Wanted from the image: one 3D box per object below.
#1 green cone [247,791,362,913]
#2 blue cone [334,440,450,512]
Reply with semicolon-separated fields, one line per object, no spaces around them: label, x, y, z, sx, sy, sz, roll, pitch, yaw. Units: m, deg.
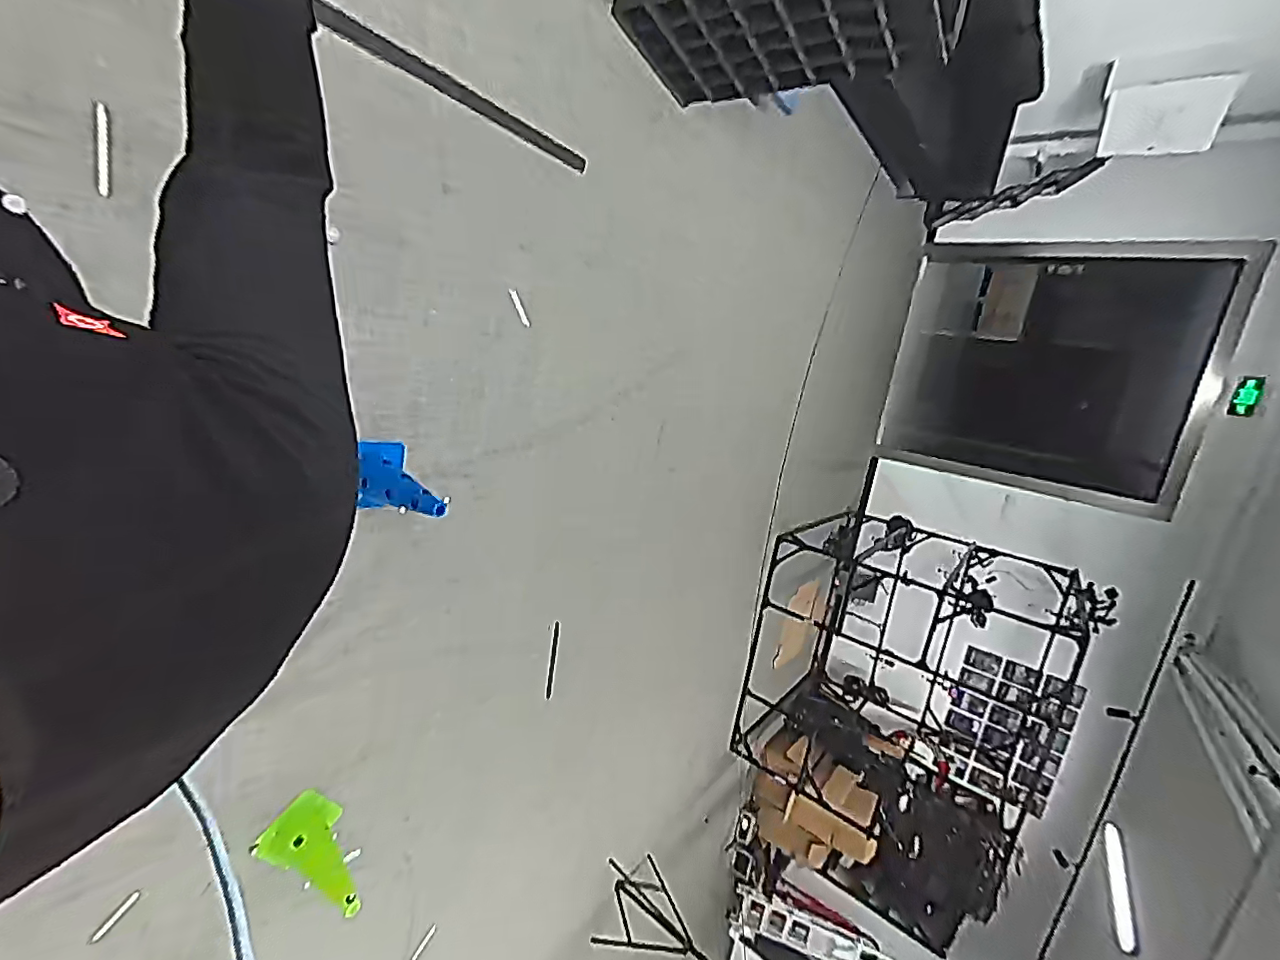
green cone;-0.918;1.116;1.562;0.202;0.368;0.200;-49;140;-32
blue cone;-0.653;0.019;1.471;0.192;0.380;0.193;-1;106;-55
